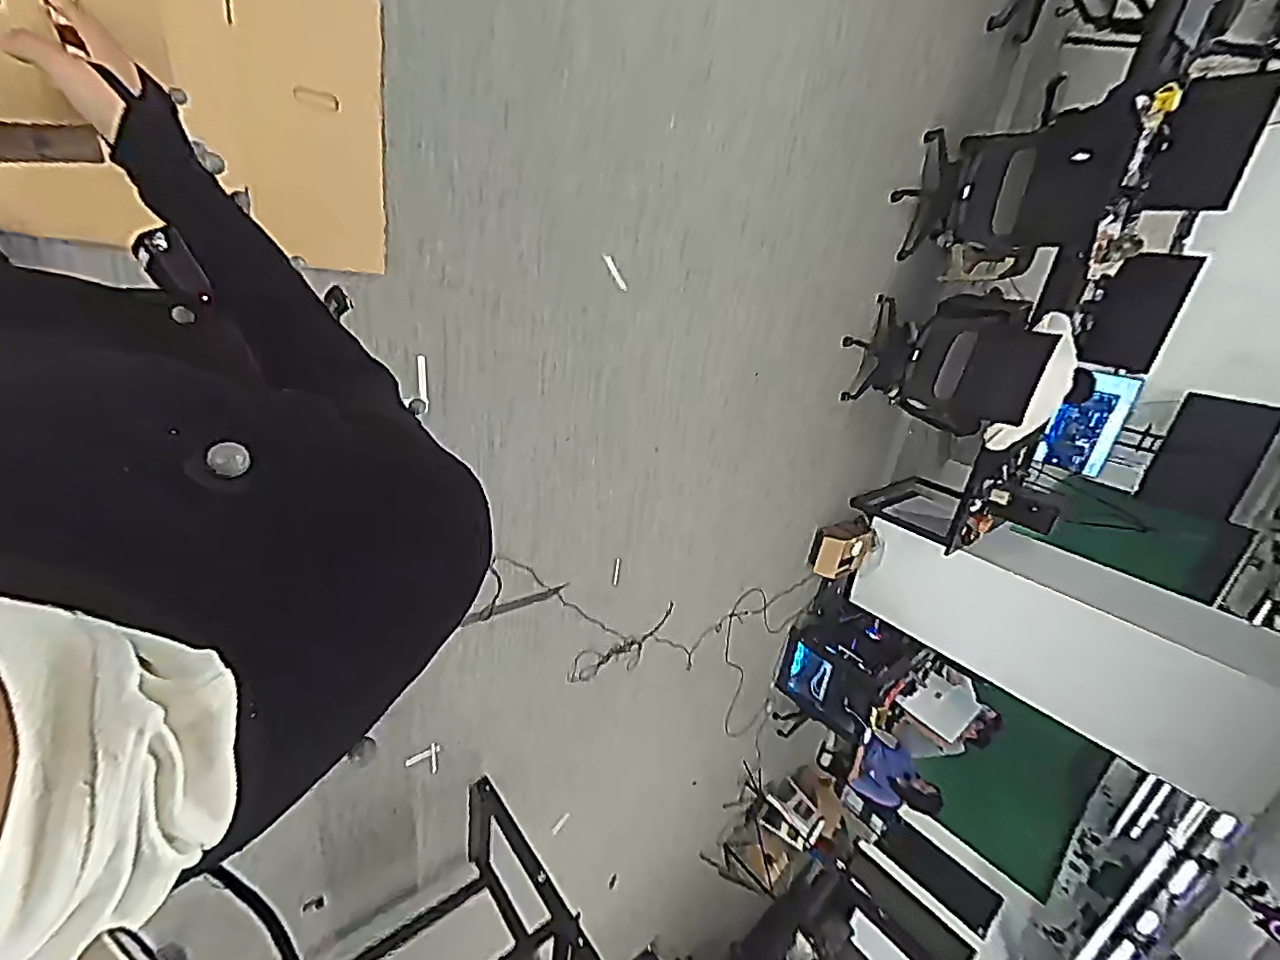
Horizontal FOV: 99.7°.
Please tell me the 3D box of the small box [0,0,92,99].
[{"bbox_3d":[-1.034,-0.748,0.886,0.179,0.176,0.168,-10,118,-40],"label":"small box"}]
